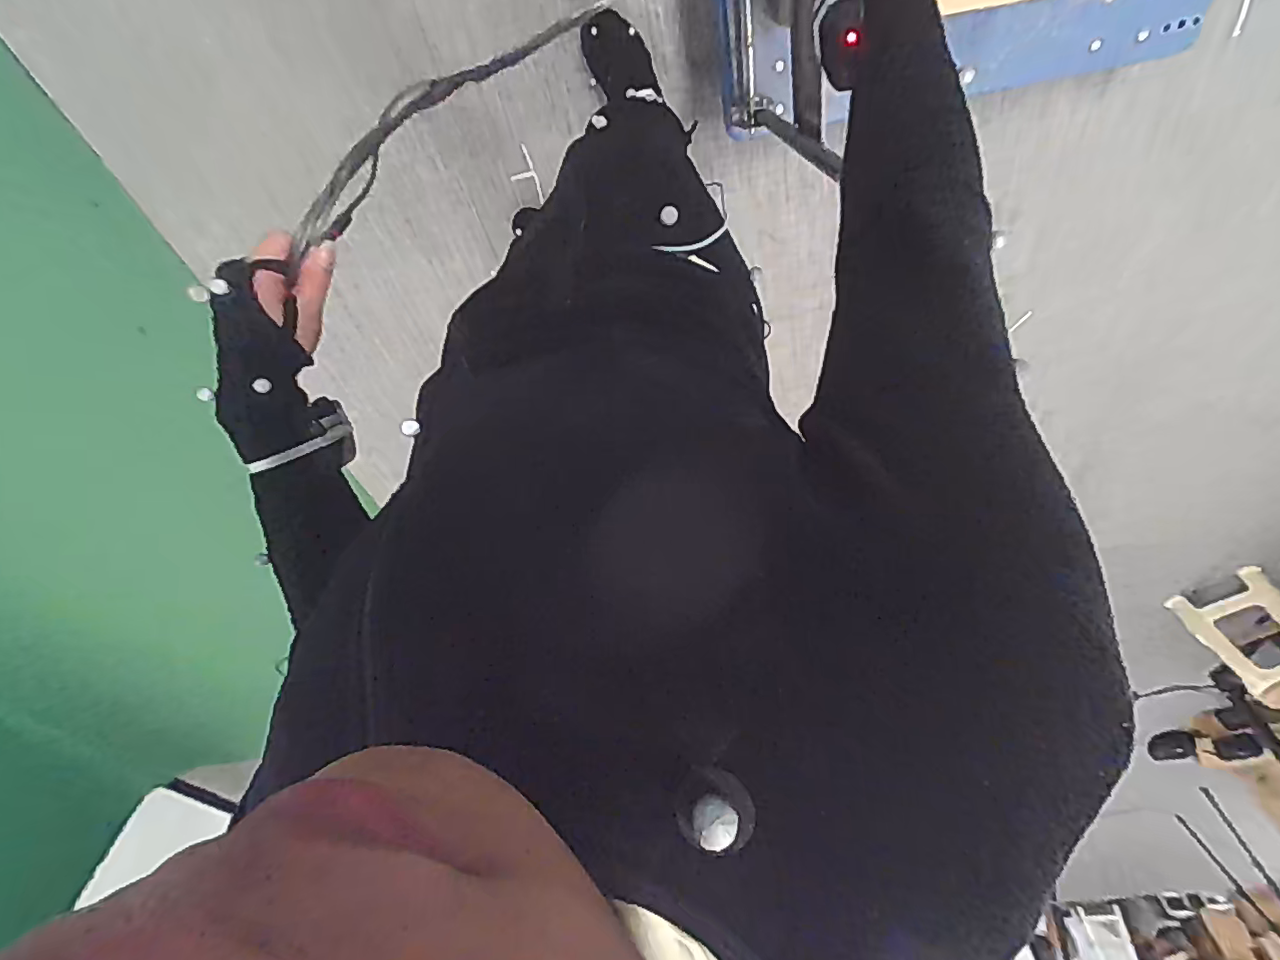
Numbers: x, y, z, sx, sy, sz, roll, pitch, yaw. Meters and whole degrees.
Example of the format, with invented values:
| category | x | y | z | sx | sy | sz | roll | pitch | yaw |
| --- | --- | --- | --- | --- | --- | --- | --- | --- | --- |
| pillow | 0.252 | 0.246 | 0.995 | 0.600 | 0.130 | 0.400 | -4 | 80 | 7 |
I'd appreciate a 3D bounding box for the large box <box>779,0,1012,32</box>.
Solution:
| category | x | y | z | sx | sy | sz | roll | pitch | yaw |
| --- | --- | --- | --- | --- | --- | --- | --- | --- | --- |
| large box | 0.426 | -0.864 | 0.754 | 0.408 | 0.320 | 0.320 | -6 | 133 | 4 |
